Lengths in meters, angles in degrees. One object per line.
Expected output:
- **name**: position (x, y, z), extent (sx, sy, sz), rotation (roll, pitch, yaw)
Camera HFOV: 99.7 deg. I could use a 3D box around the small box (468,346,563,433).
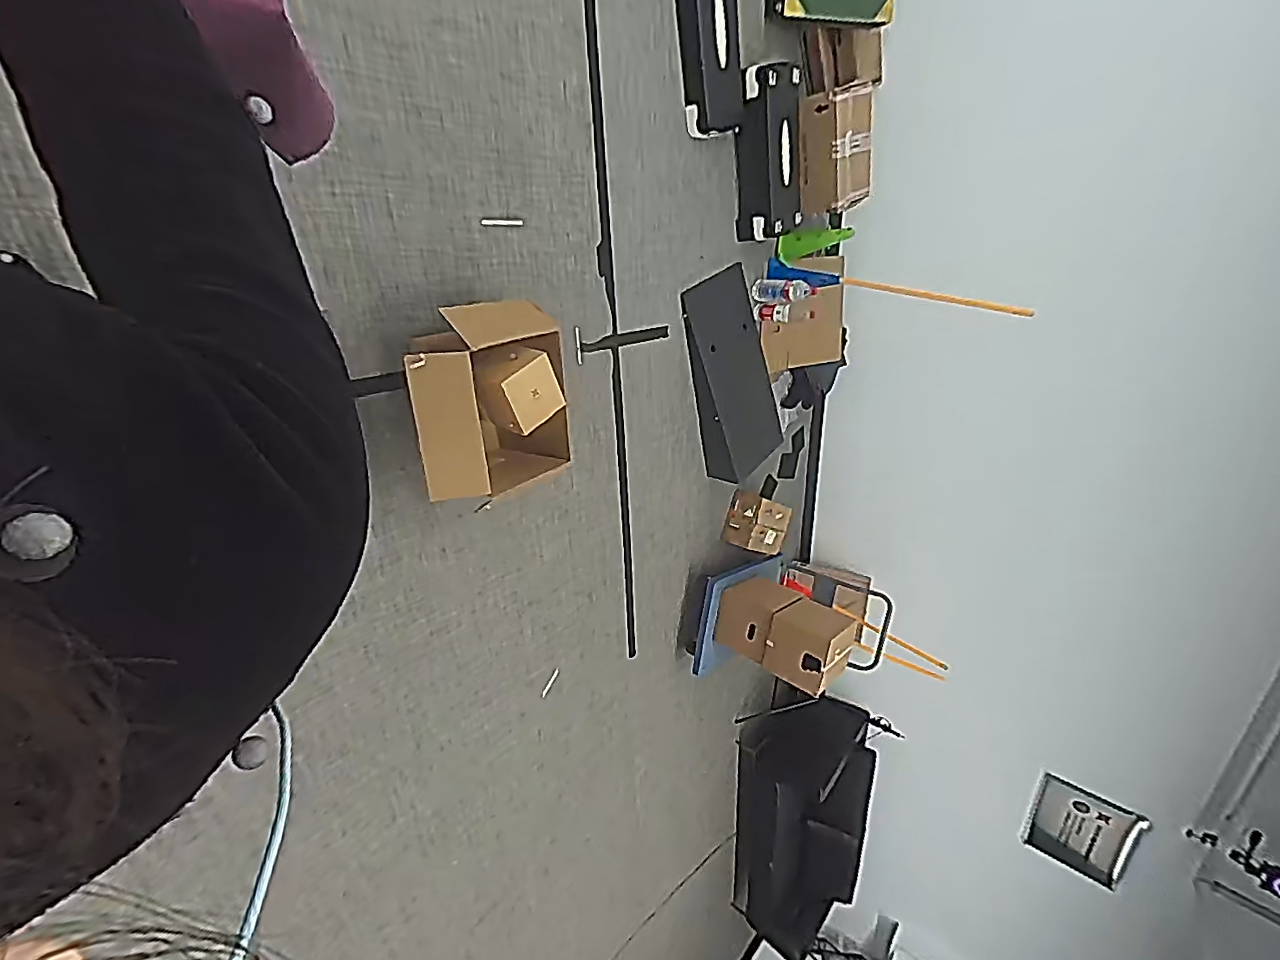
- **small box**: position (-0.352, -0.262, 1.522), extent (0.168, 0.176, 0.179), rotation (-45, 138, -28)
